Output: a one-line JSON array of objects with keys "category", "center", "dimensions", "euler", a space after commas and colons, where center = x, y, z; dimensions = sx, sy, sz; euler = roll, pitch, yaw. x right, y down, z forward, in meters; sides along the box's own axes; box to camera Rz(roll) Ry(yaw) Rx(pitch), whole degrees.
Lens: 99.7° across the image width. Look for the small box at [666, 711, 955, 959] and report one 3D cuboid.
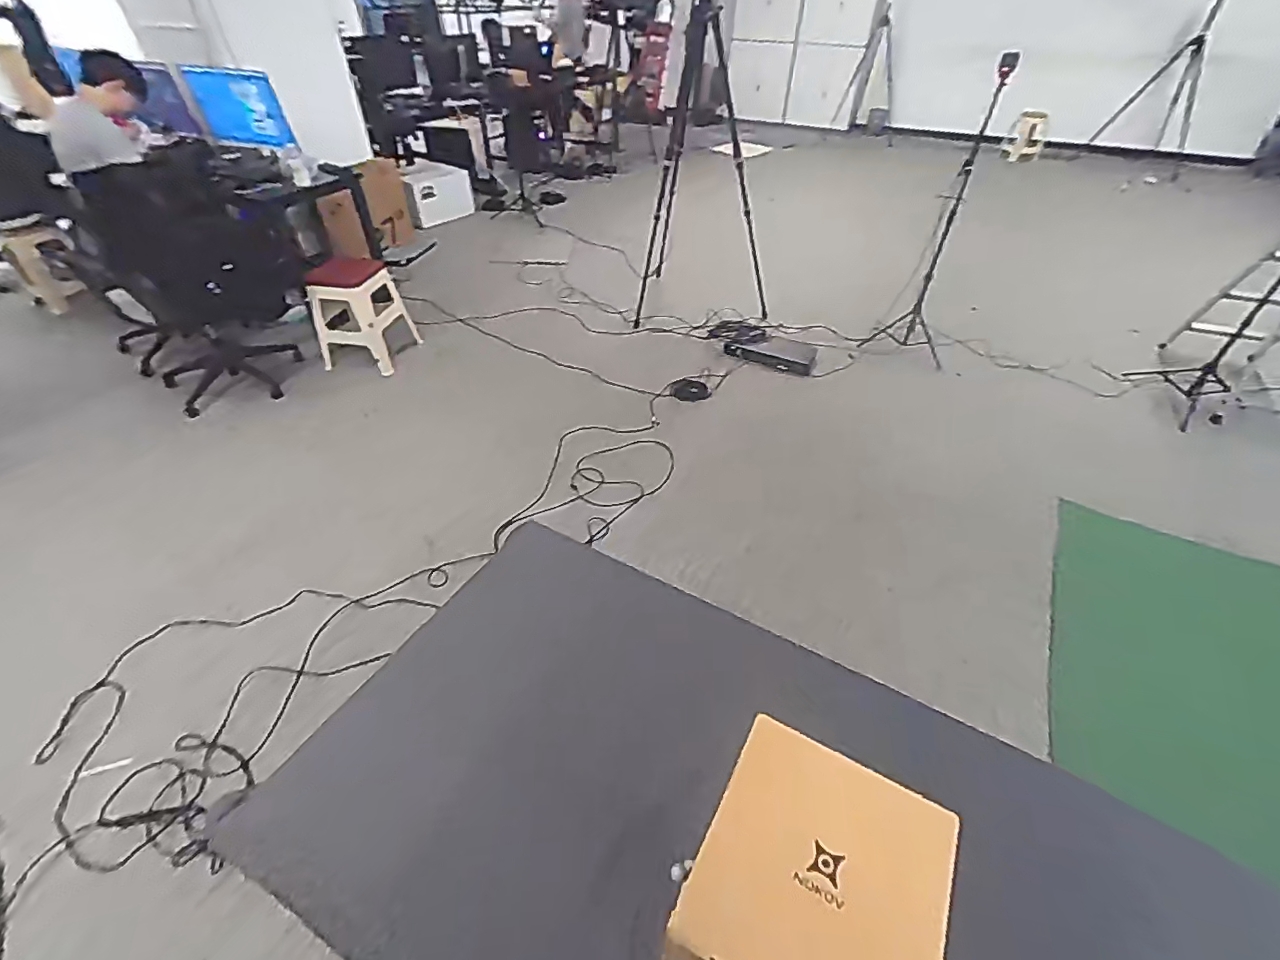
[{"category": "small box", "center": [0.129, 0.337, 0.444], "dimensions": [0.168, 0.176, 0.179], "euler": [22, 46, 20]}]
